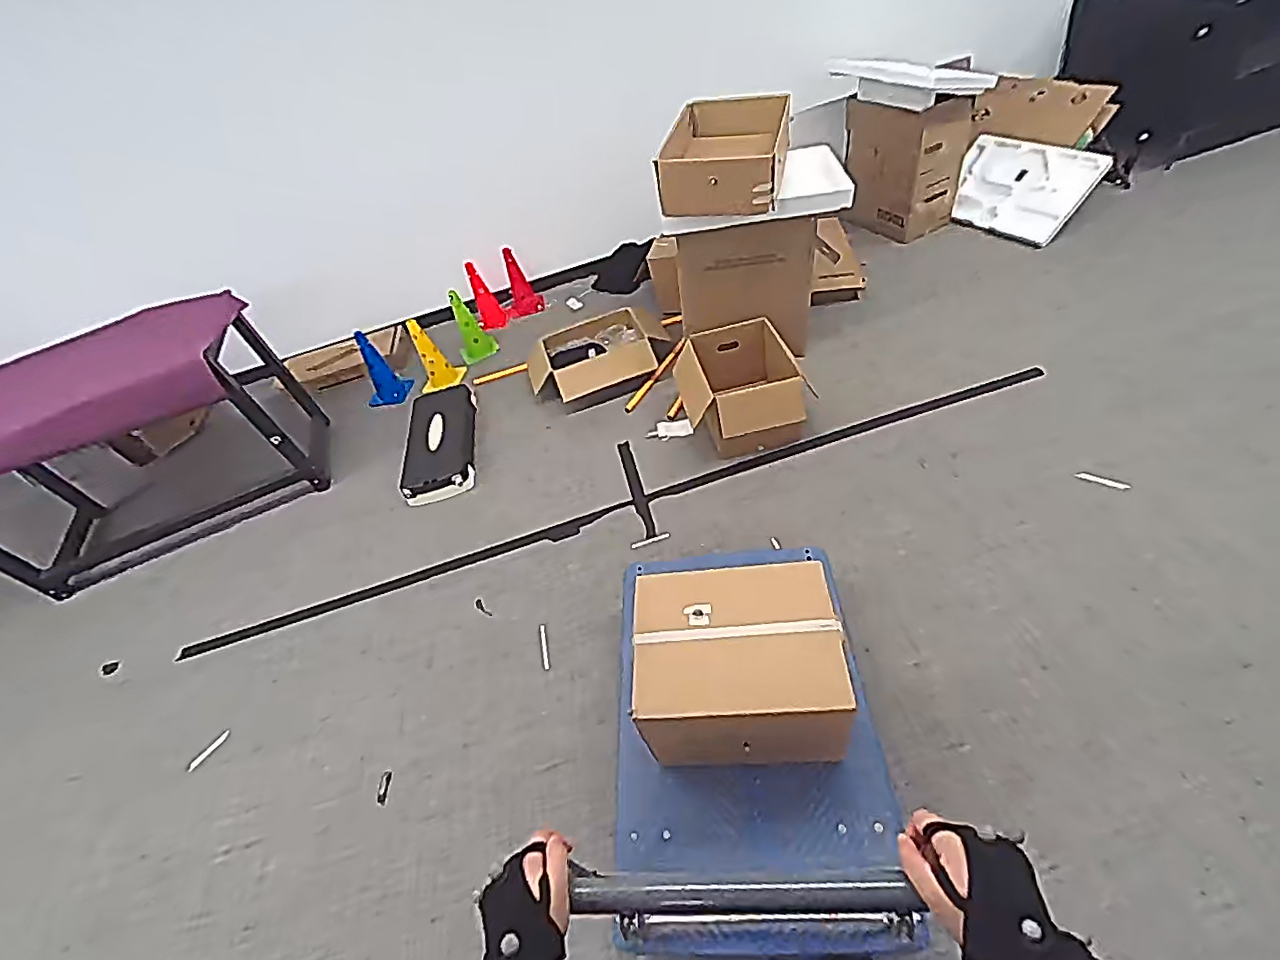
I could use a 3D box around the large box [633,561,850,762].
[{"bbox_3d":[0.215,0.412,1.200,0.408,0.320,0.320,-8,45,10],"label":"large box"}]
